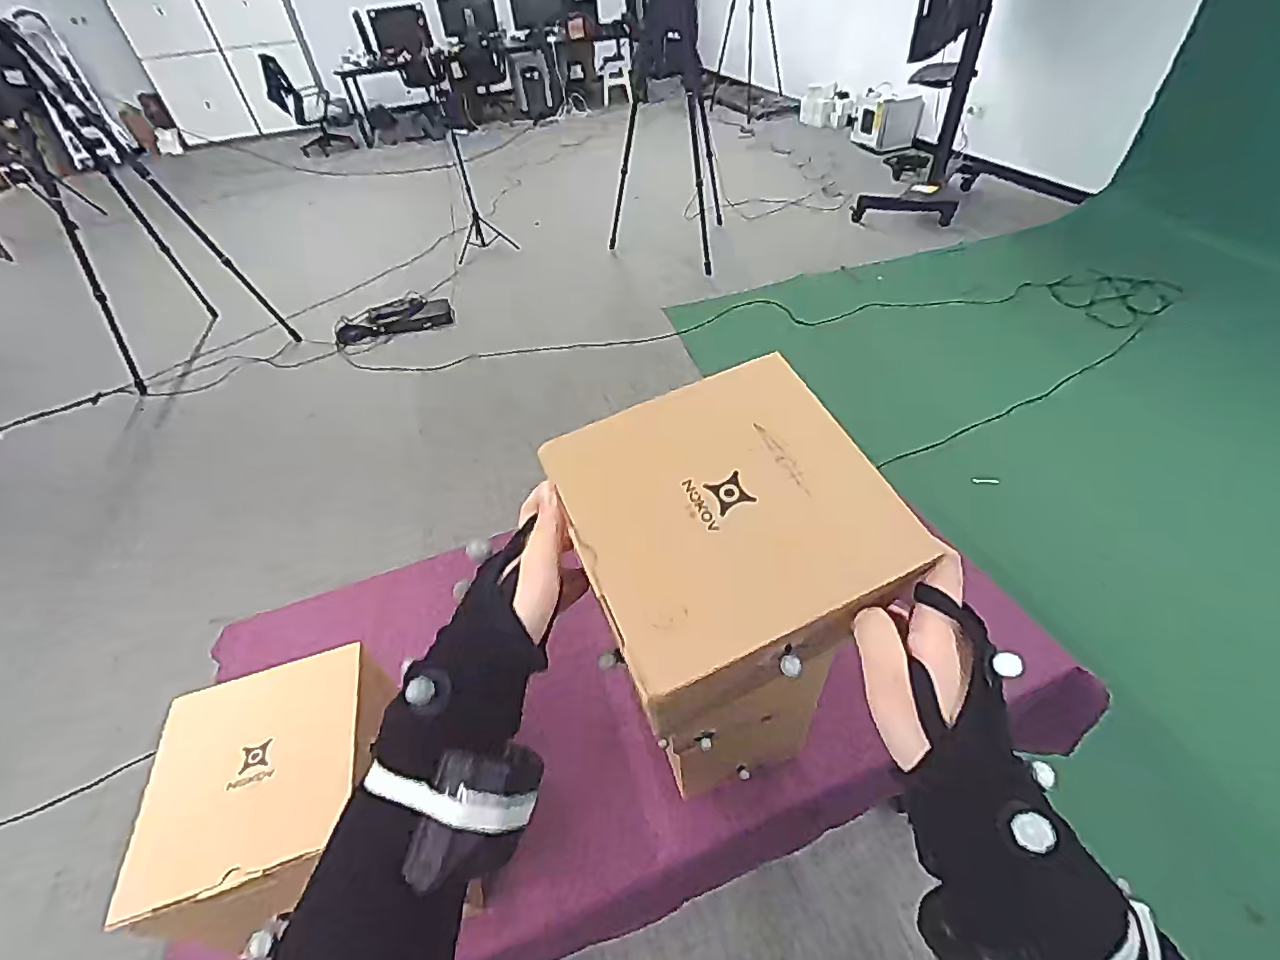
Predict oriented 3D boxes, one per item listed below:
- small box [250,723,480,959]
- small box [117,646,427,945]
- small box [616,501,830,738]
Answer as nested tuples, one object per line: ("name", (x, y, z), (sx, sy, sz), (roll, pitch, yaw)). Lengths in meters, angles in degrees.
("small box", (-0.292, 0.414, 0.617), (0.179, 0.176, 0.168), (-17, 45, -9))
("small box", (-0.312, 0.294, 0.508), (0.168, 0.176, 0.179), (-16, 46, -9))
("small box", (0.082, 0.156, 0.589), (0.168, 0.176, 0.179), (-15, 45, -7))
